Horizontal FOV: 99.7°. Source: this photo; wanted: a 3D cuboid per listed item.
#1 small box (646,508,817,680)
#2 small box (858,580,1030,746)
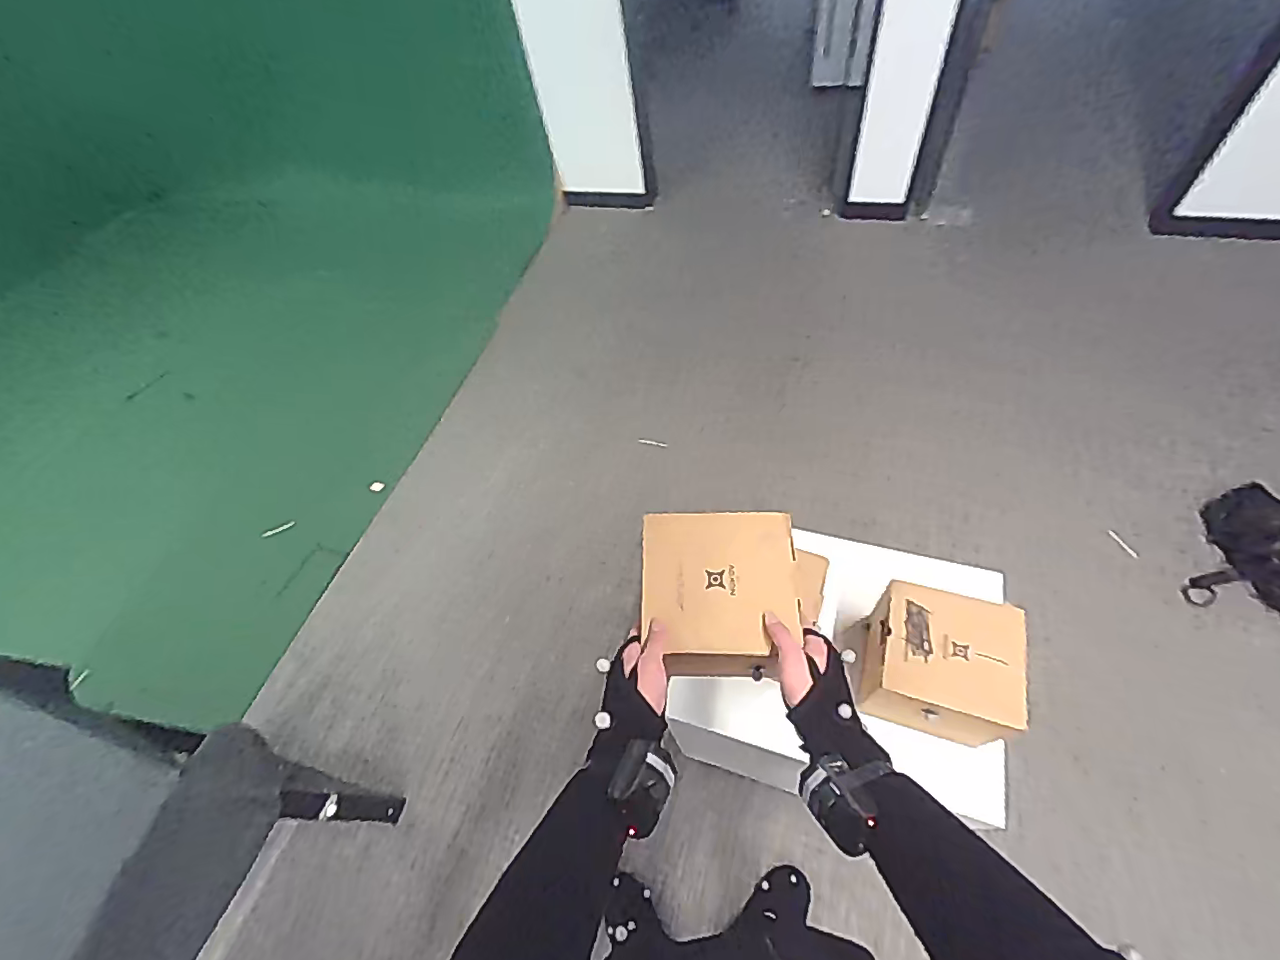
[{"bbox_3d":[0.097,0.144,0.659,0.179,0.176,0.168,-2,60,2],"label":"small box"},{"bbox_3d":[0.435,0.273,0.797,0.179,0.176,0.168,13,59,14],"label":"small box"}]
